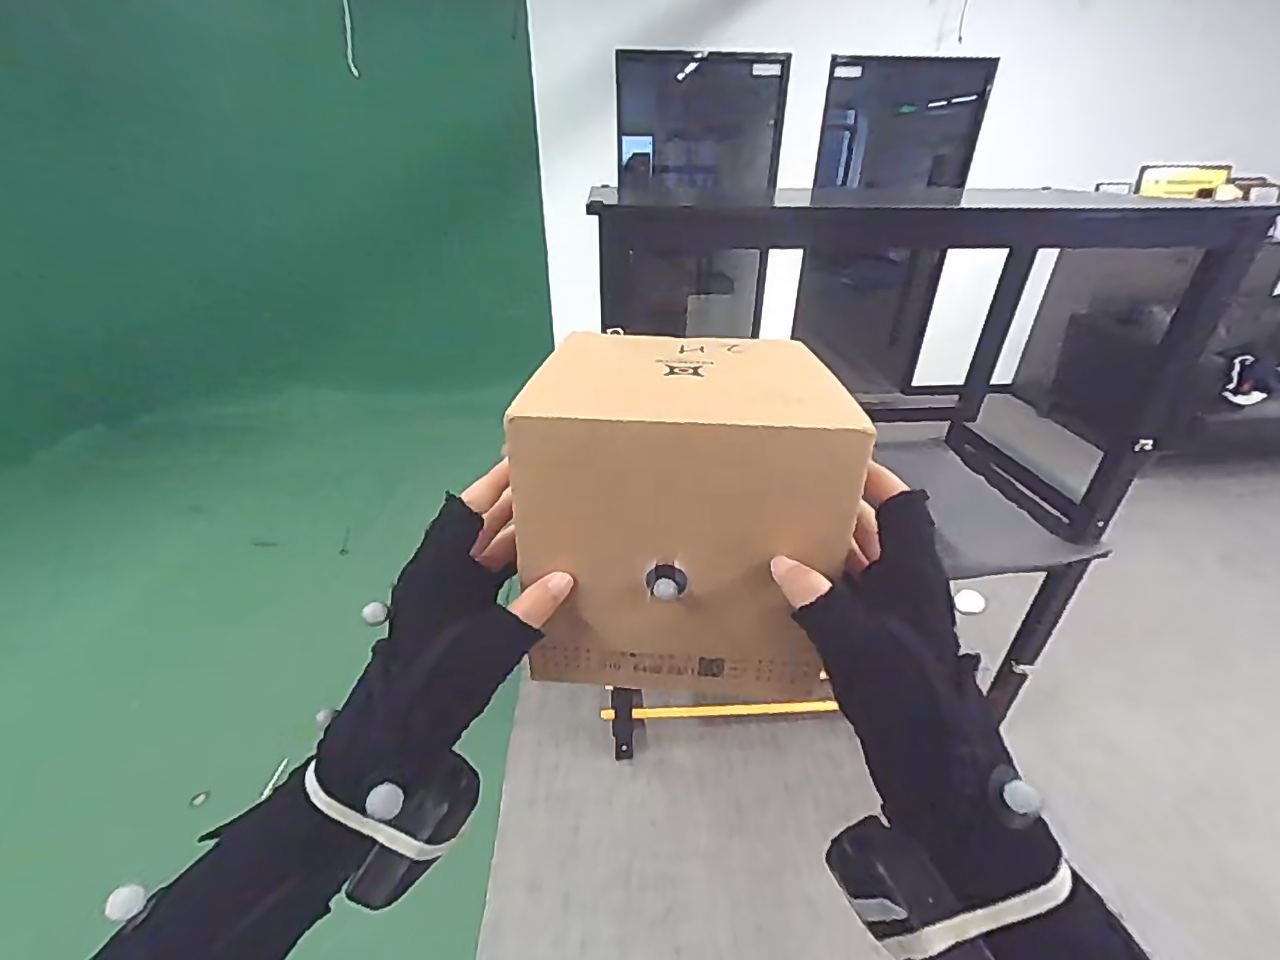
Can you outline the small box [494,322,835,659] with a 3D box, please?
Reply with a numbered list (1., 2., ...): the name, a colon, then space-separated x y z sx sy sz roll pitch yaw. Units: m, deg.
1. small box: 0.016 -0.004 0.362 0.168 0.176 0.179 3 26 3
